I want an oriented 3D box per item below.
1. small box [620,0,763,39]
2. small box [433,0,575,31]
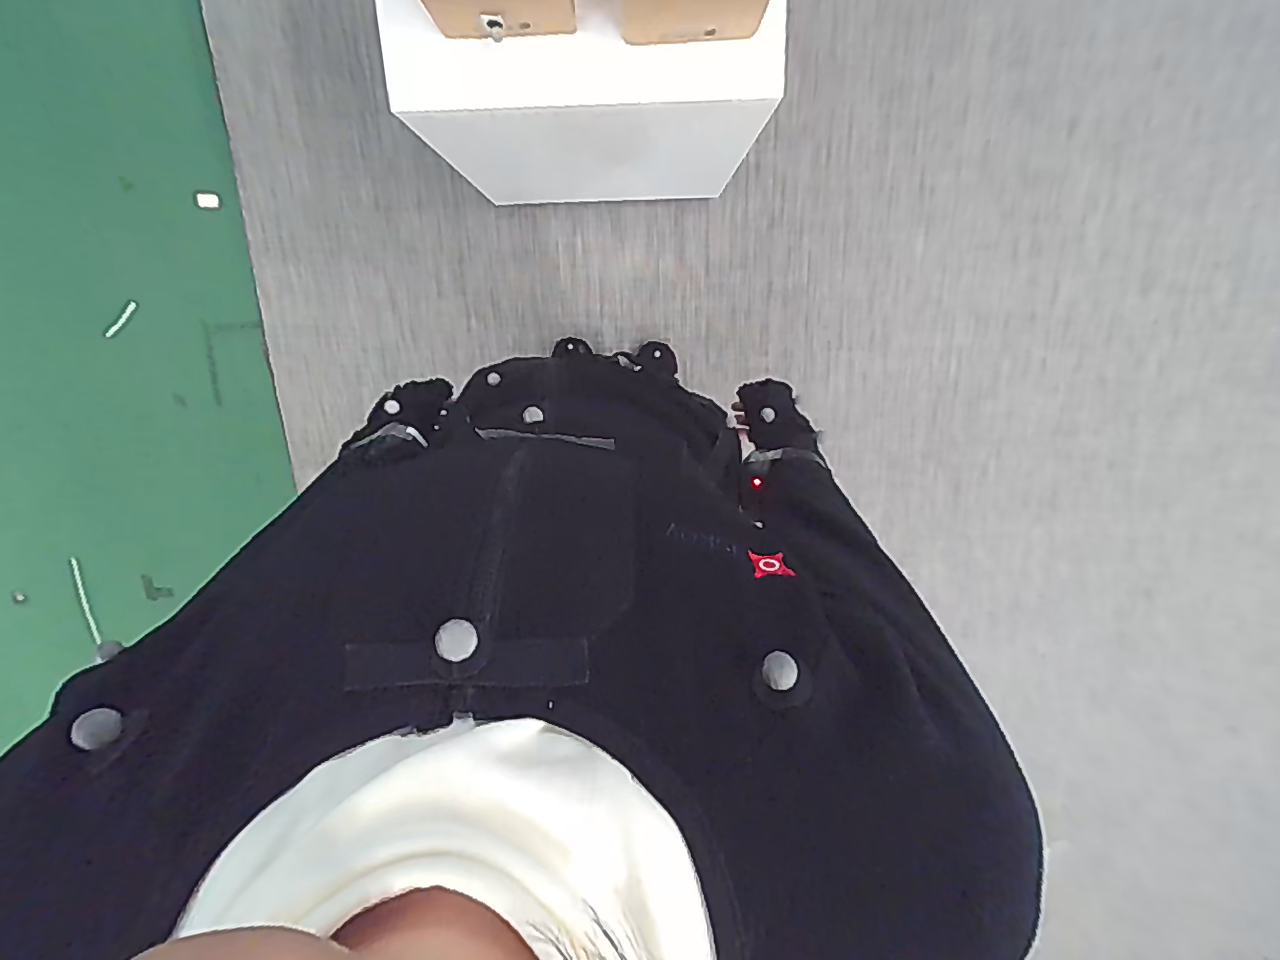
[{"bbox_3d":[0.056,-0.614,0.573,0.168,0.176,0.179,-2,105,0],"label":"small box"},{"bbox_3d":[-0.163,-0.614,0.558,0.168,0.176,0.179,-4,107,1],"label":"small box"}]
